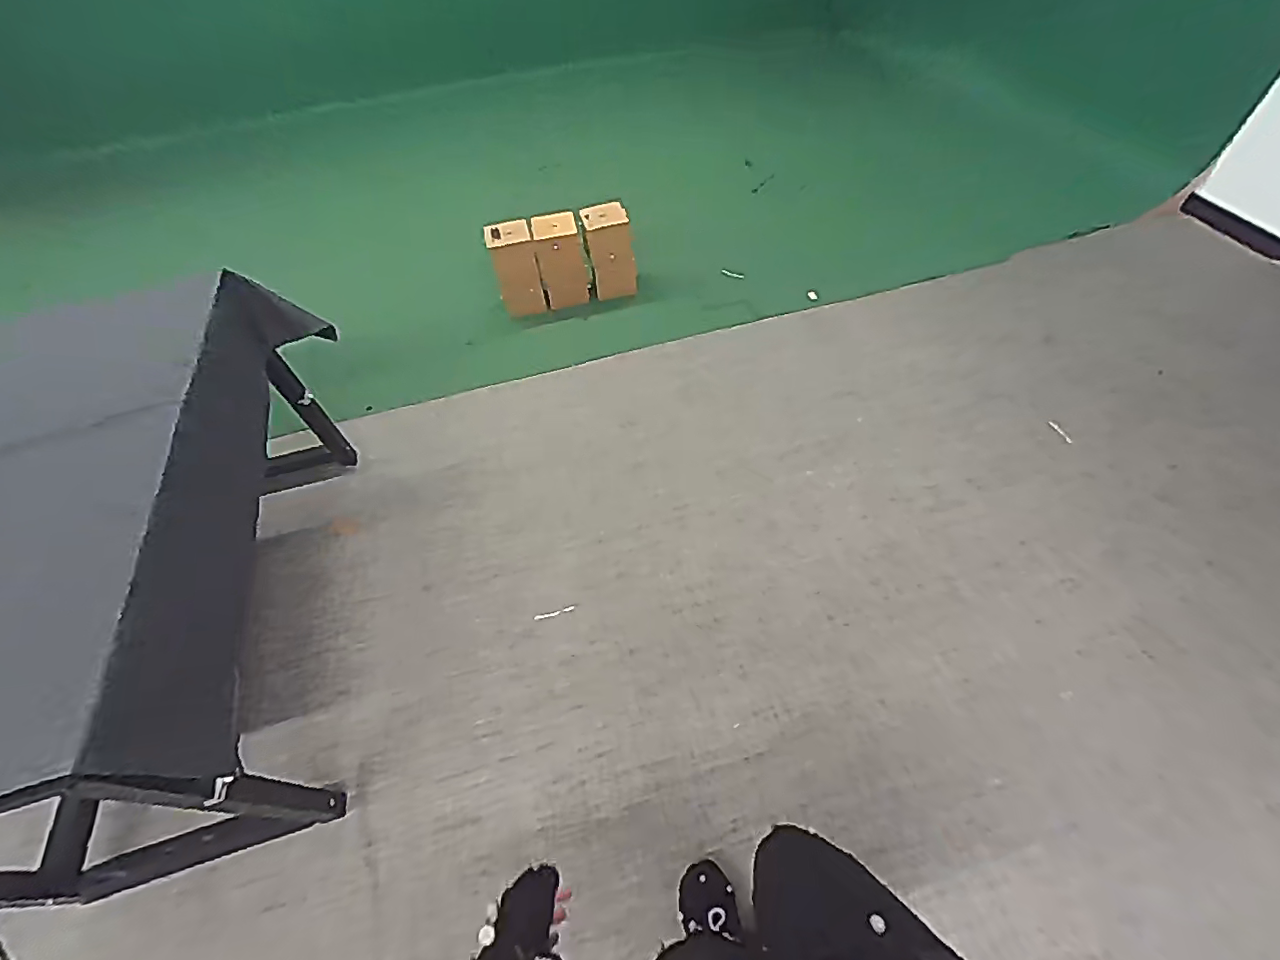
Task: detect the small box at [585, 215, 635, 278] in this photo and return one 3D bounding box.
[{"bbox_3d":[-0.124,-0.973,2.256,0.179,0.176,0.168,-14,53,-7],"label":"small box"}]
